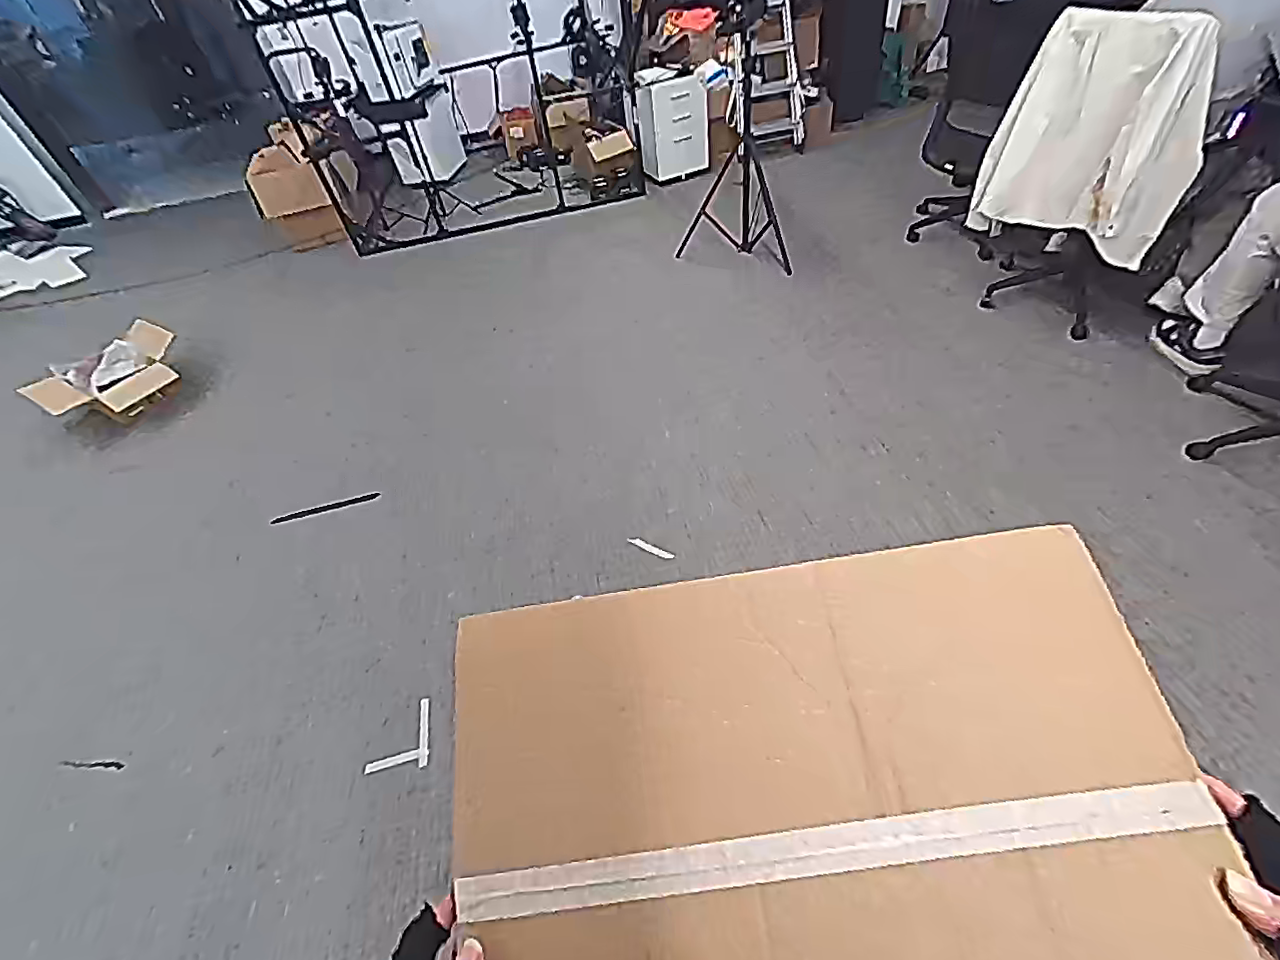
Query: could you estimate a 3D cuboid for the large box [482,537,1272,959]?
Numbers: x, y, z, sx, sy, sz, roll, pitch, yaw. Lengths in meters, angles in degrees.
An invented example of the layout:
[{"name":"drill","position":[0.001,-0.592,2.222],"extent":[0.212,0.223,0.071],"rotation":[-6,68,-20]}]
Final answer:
[{"name":"large box","position":[0.121,0.270,0.438],"extent":[0.408,0.320,0.320],"rotation":[-10,66,3]}]
